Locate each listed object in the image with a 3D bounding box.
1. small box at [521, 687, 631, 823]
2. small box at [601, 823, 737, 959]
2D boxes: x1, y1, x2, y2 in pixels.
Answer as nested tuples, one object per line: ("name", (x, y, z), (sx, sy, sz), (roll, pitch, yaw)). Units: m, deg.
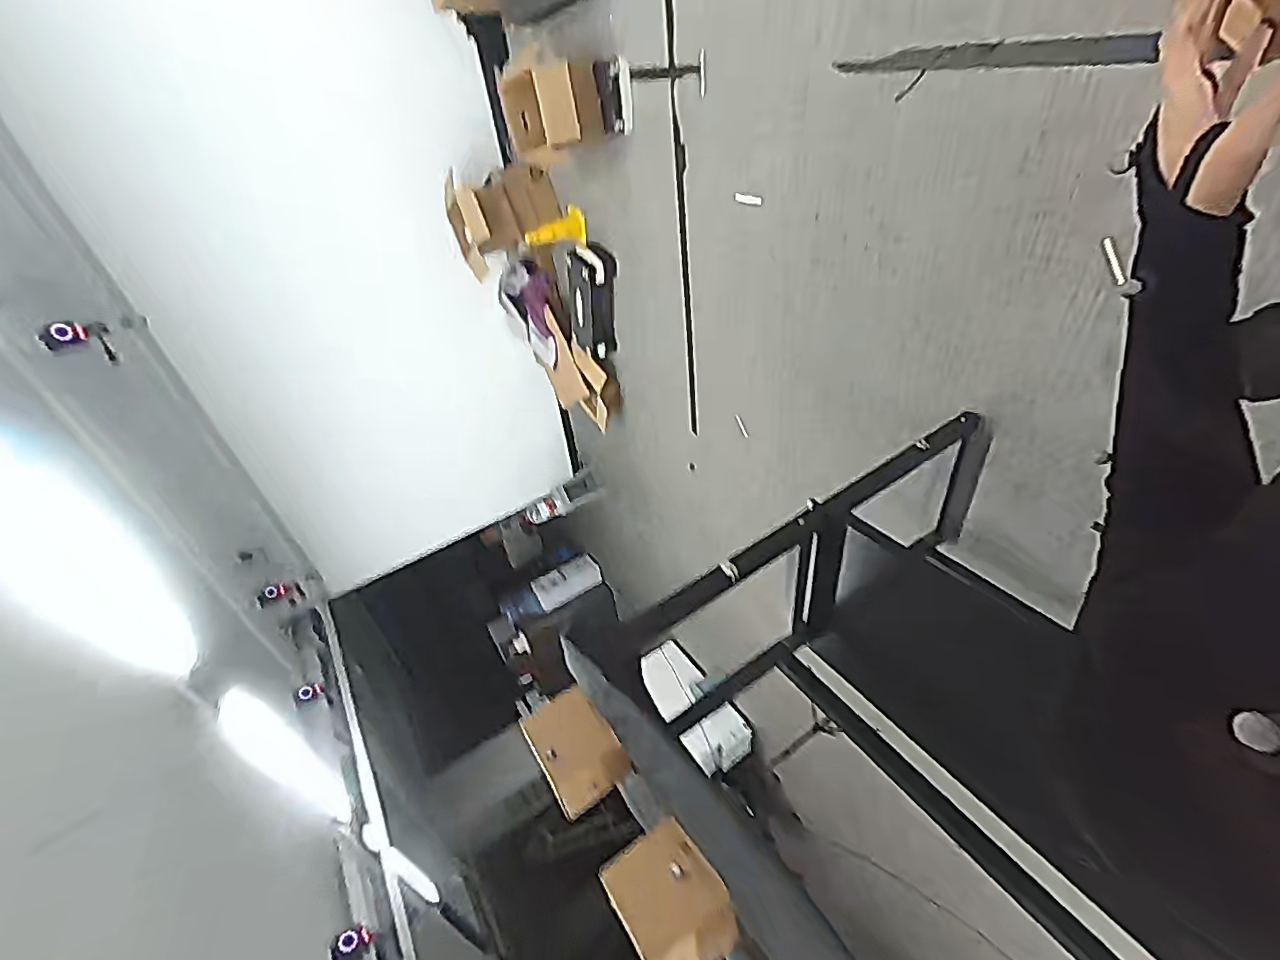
("small box", (-0.133, 0.592, 1.175), (0.168, 0.176, 0.179), (42, 150, 40))
("small box", (0.058, 0.767, 0.960), (0.168, 0.176, 0.179), (33, 142, 50))
